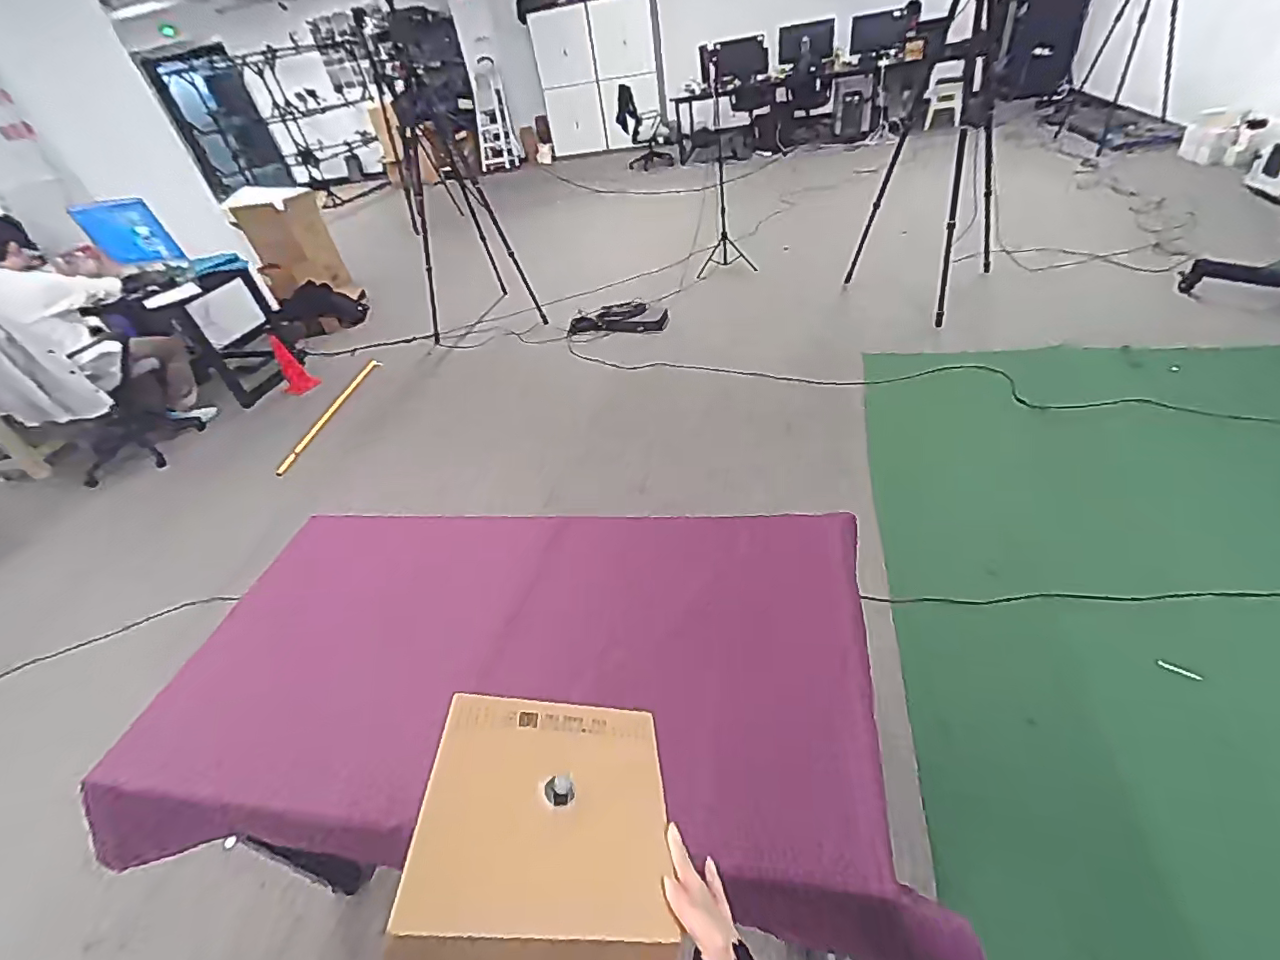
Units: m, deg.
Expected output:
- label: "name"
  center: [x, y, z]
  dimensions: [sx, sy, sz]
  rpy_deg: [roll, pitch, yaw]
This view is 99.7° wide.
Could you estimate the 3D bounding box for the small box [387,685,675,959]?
- label: "small box"
  center: [-0.083, 0.285, 0.413]
  dimensions: [0.168, 0.179, 0.176]
  rpy_deg: [11, 24, -9]
